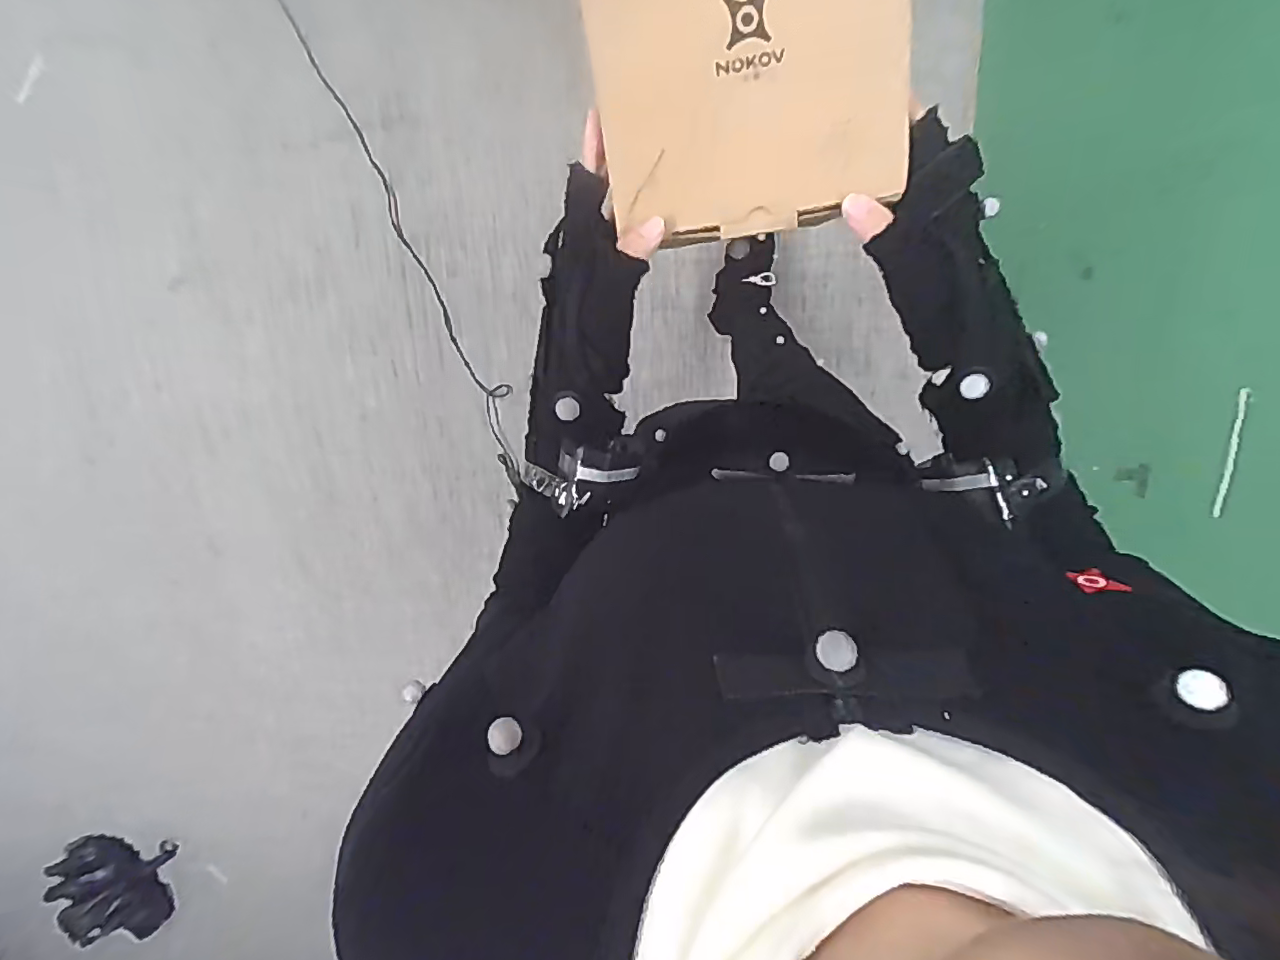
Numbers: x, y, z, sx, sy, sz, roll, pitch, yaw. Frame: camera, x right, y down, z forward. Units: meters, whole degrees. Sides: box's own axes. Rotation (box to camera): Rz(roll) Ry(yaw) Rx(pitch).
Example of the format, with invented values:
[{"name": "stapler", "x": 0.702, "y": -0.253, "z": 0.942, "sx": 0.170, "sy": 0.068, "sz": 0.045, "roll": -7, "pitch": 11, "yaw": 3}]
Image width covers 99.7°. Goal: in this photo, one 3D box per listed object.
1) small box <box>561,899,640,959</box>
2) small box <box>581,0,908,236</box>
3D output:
[{"name": "small box", "x": -0.094, "y": 1.189, "z": 1.348, "sx": 0.179, "sy": 0.176, "sz": 0.168, "roll": -5, "pitch": 102, "yaw": 7}, {"name": "small box", "x": 0.057, "y": -0.265, "z": 0.353, "sx": 0.168, "sy": 0.176, "sz": 0.179, "roll": -7, "pitch": 112, "yaw": 5}]
